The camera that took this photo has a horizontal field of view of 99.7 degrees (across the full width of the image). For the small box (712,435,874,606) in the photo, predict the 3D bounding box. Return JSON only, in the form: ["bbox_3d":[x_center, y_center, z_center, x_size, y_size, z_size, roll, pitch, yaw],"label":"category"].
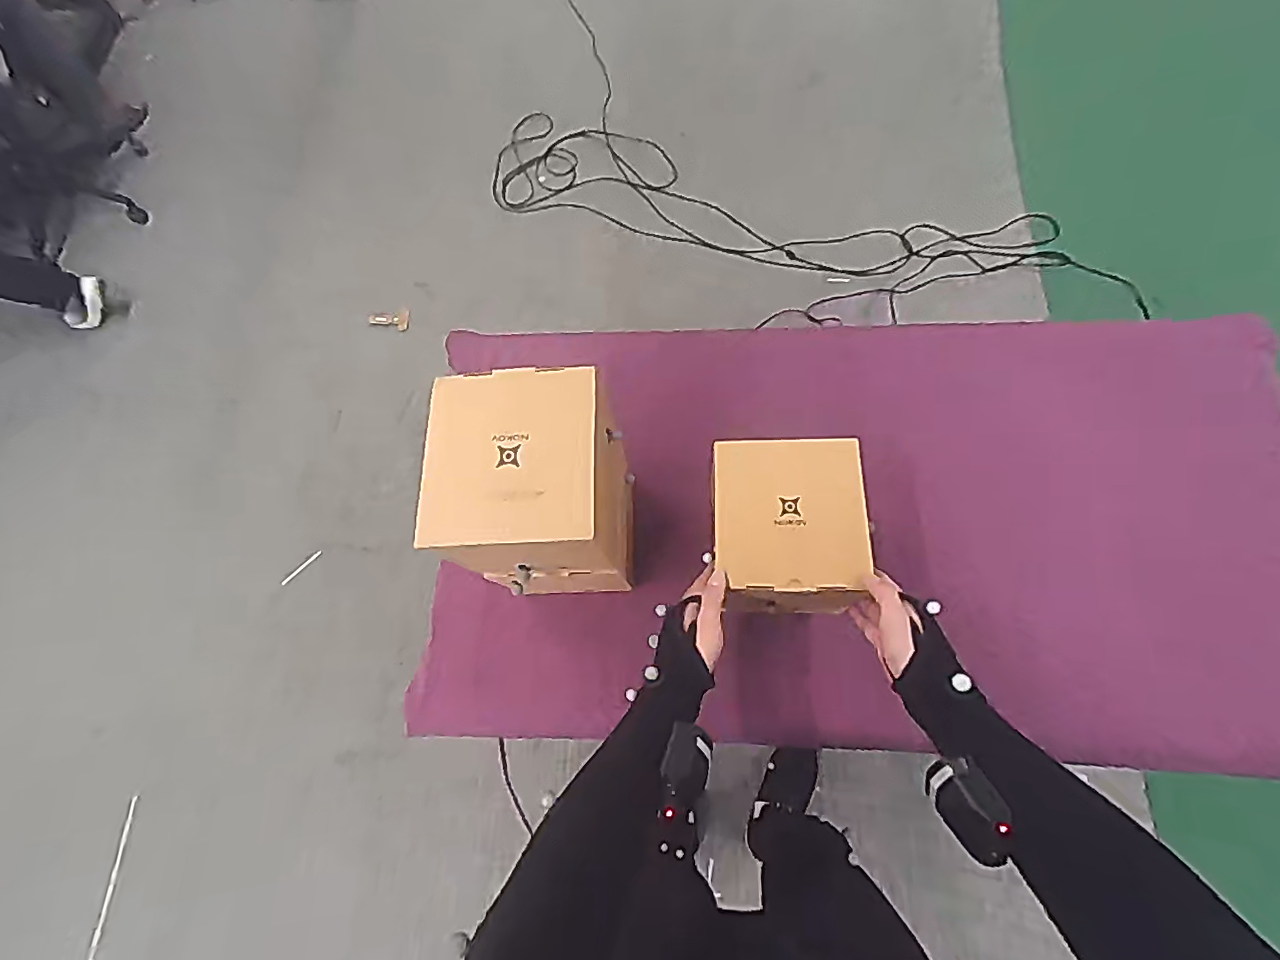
[{"bbox_3d":[0.176,0.057,0.680,0.168,0.176,0.179,-1,70,6],"label":"small box"}]

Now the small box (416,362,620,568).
[{"bbox_3d":[-0.113,-0.006,0.579,0.168,0.176,0.179,-2,72,5],"label":"small box"}]
